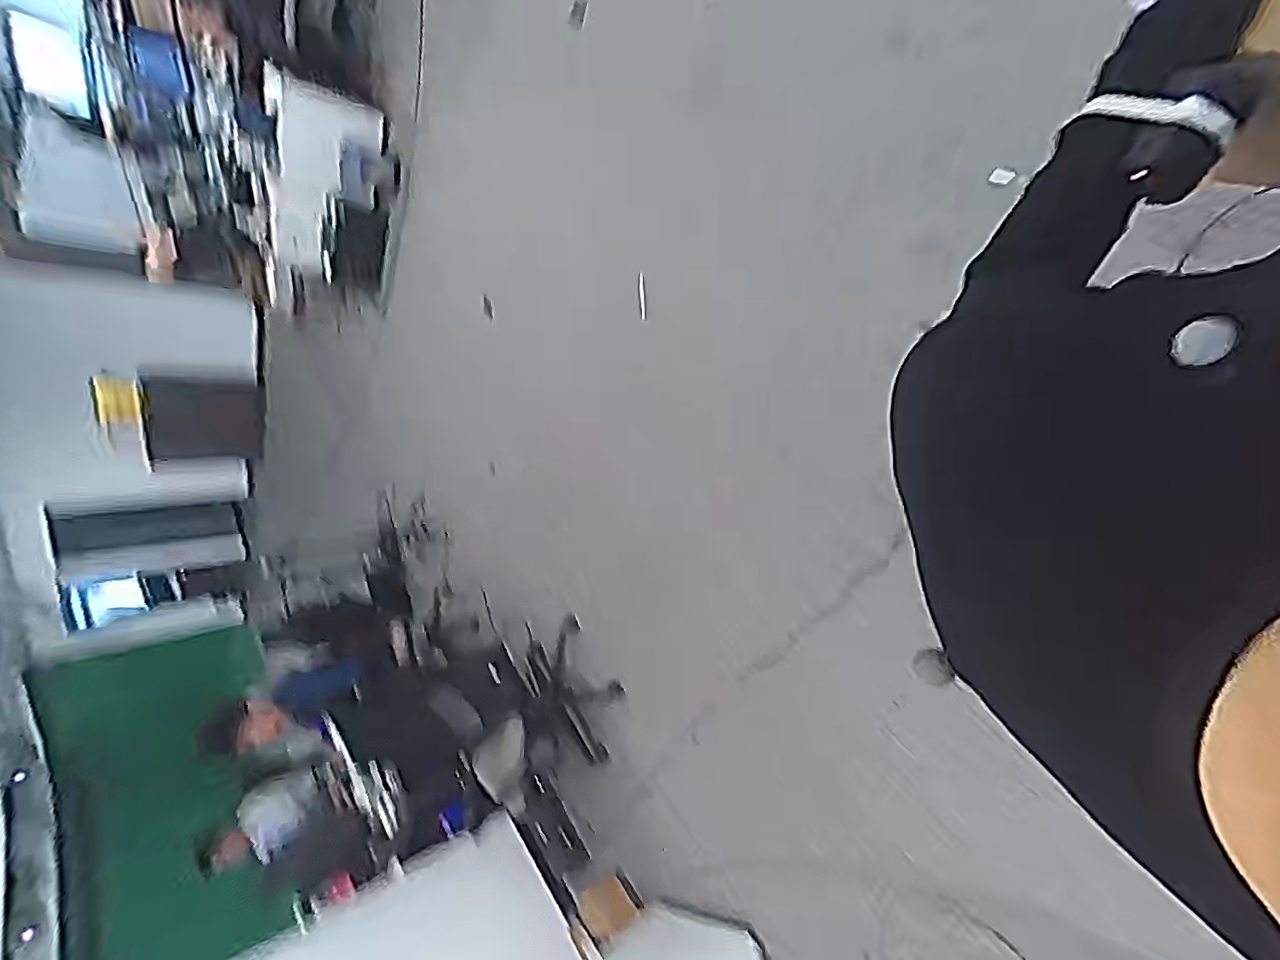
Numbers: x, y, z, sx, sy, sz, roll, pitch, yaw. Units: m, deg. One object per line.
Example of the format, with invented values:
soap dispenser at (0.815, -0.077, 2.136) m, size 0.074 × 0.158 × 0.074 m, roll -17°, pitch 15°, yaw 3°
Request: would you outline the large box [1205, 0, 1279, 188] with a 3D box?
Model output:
large box at (0.651, -0.339, 0.284) m, size 0.408 × 0.320 × 0.320 m, roll 32°, pitch 121°, yaw 35°
